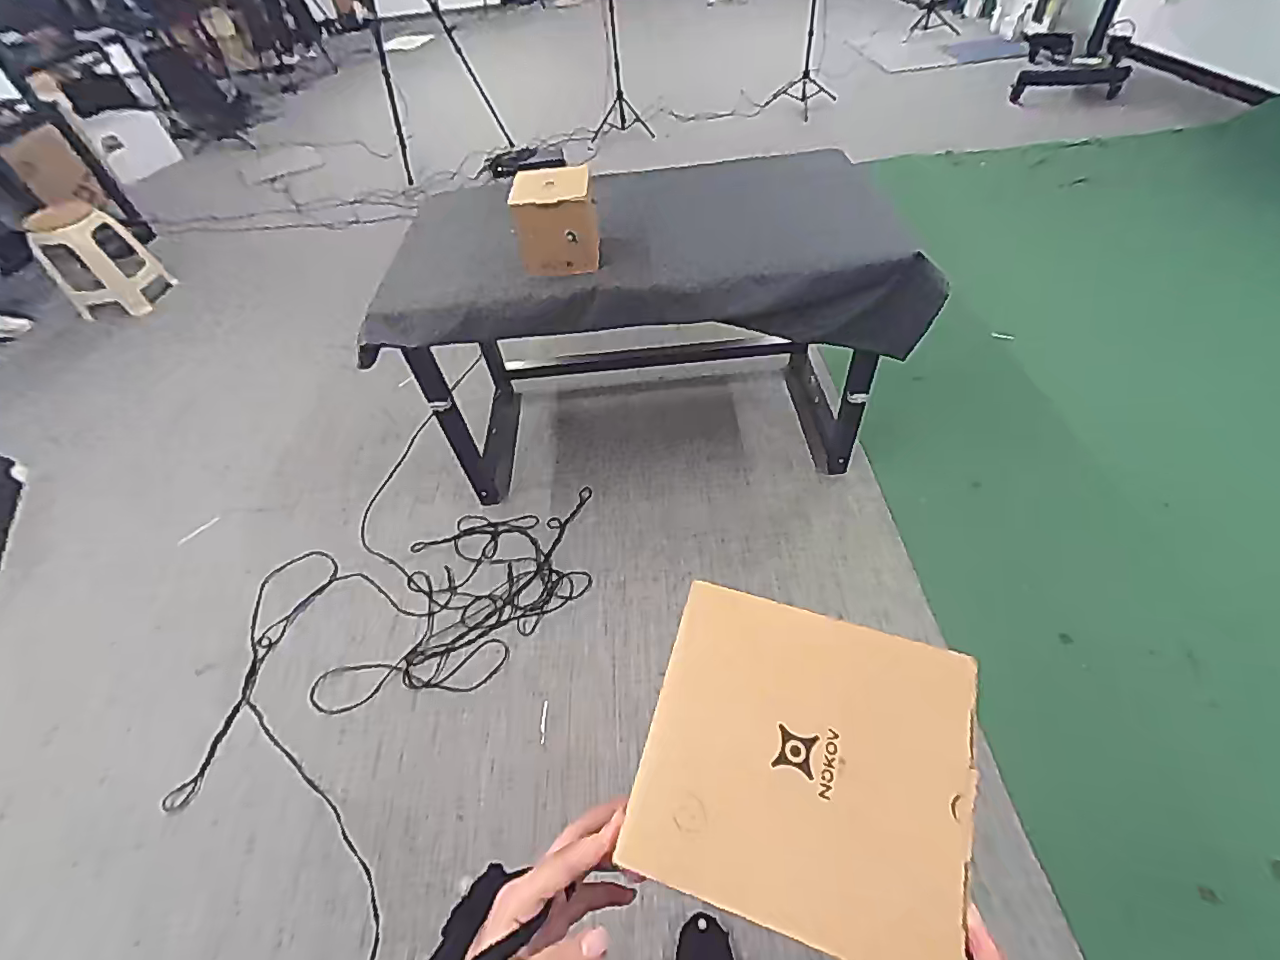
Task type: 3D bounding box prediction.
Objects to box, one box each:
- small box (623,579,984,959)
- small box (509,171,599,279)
[{"bbox_3d":[0.104,0.192,0.373,0.179,0.176,0.168,14,63,13],"label":"small box"},{"bbox_3d":[-0.185,-0.568,1.219,0.168,0.176,0.179,-4,48,2],"label":"small box"}]
